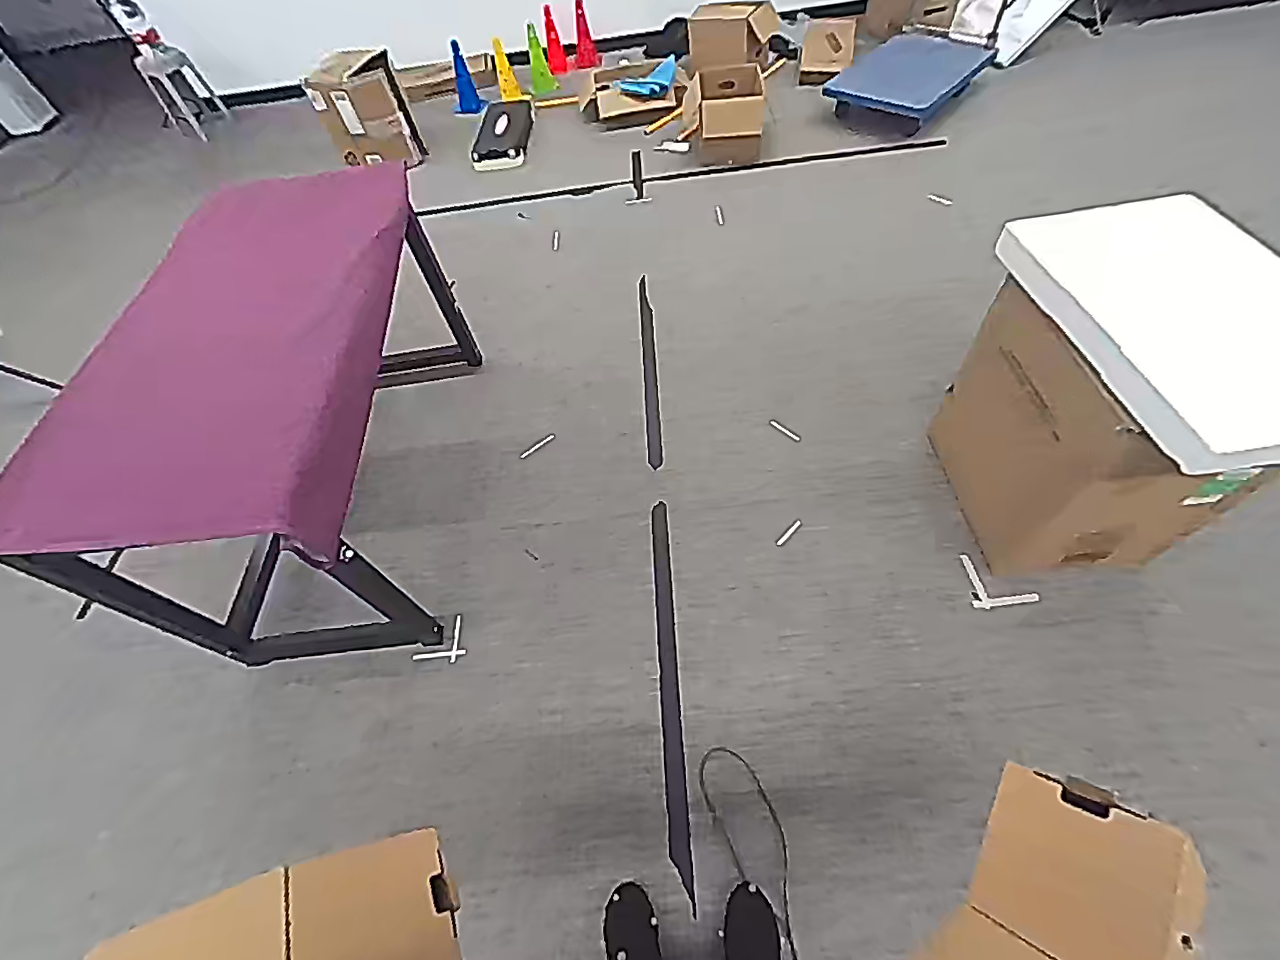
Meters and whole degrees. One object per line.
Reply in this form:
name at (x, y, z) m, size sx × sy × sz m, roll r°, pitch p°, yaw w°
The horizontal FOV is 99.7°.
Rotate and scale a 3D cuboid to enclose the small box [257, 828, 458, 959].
small box at (-0.343, 0.564, 0.643) m, size 0.179 × 0.176 × 0.168 m, roll 10°, pitch 28°, yaw -40°
